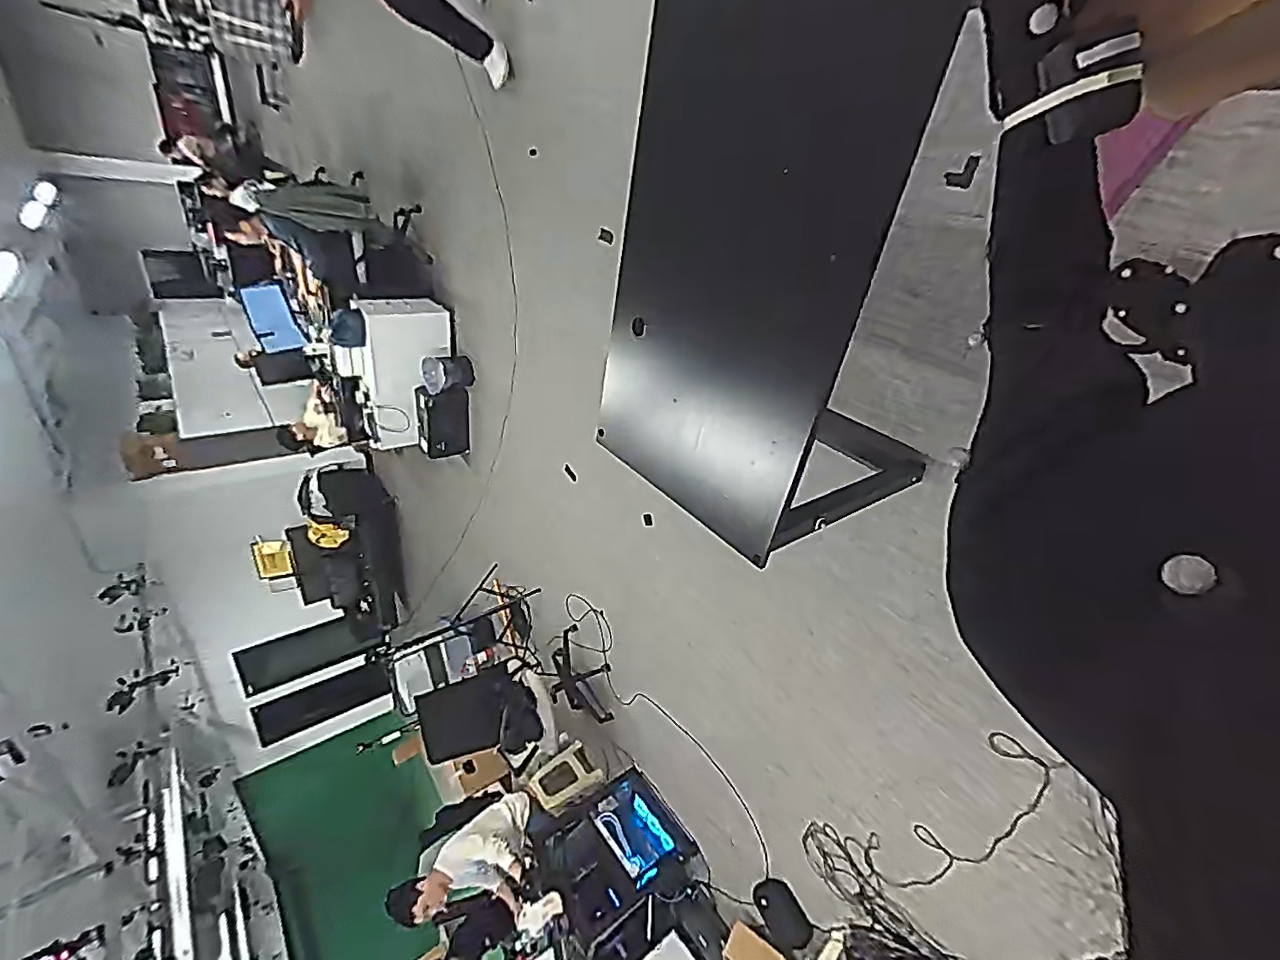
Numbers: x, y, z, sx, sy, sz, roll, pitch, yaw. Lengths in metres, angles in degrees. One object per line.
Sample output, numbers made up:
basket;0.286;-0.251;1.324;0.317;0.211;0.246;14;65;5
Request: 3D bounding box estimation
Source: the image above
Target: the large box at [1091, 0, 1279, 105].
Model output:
large box;0.512;-0.492;0.288;0.408;0.320;0.320;-6;103;55
